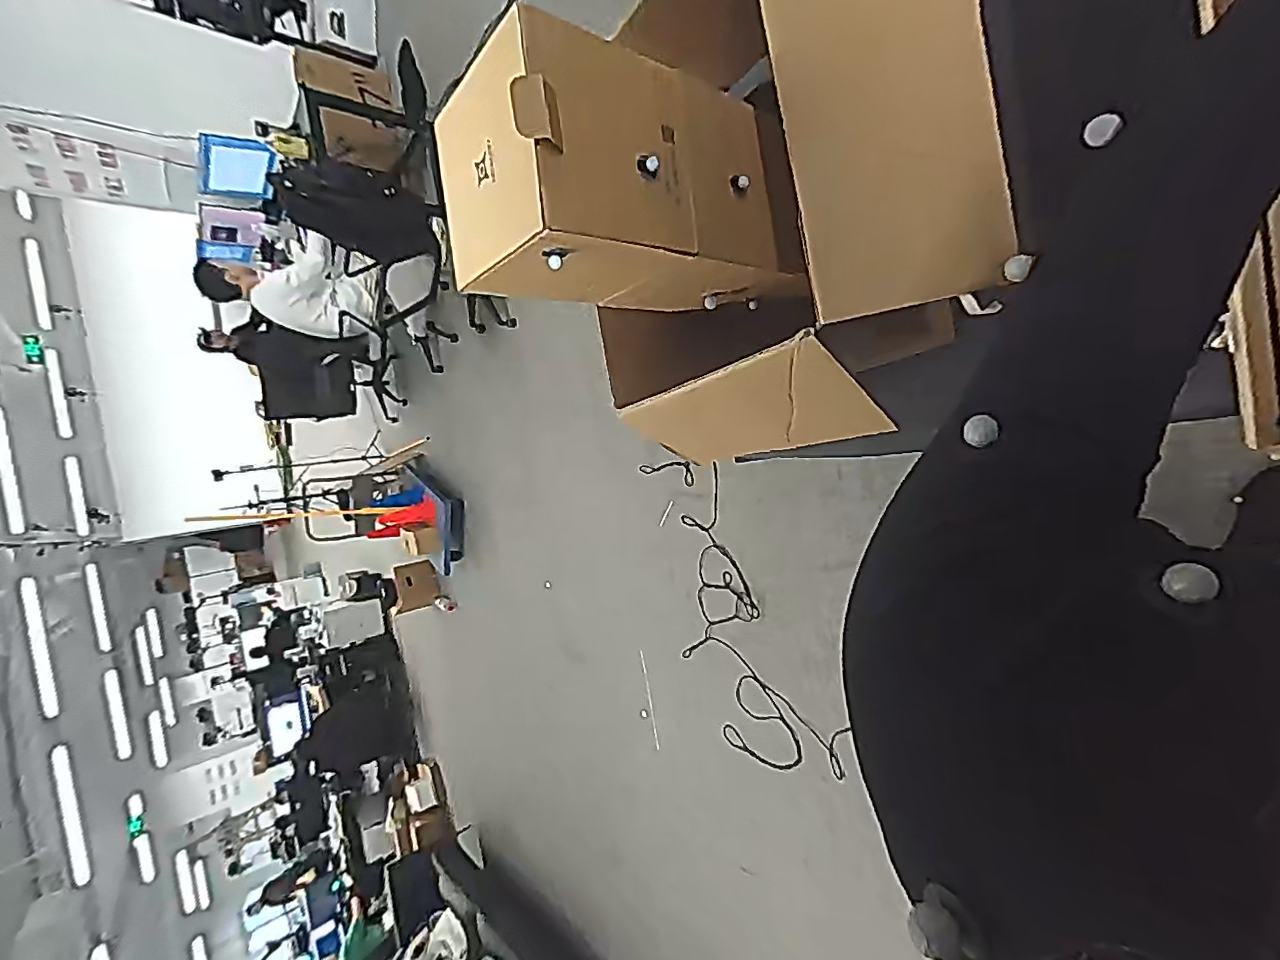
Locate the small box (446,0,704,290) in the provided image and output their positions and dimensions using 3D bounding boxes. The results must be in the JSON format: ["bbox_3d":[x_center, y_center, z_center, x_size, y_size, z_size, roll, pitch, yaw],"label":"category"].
[{"bbox_3d":[-0.063,-0.289,0.517,0.179,0.176,0.168,-2,98,50],"label":"small box"}]

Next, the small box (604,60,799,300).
[{"bbox_3d":[0.060,-0.317,0.619,0.168,0.176,0.179,-3,98,50],"label":"small box"}]
